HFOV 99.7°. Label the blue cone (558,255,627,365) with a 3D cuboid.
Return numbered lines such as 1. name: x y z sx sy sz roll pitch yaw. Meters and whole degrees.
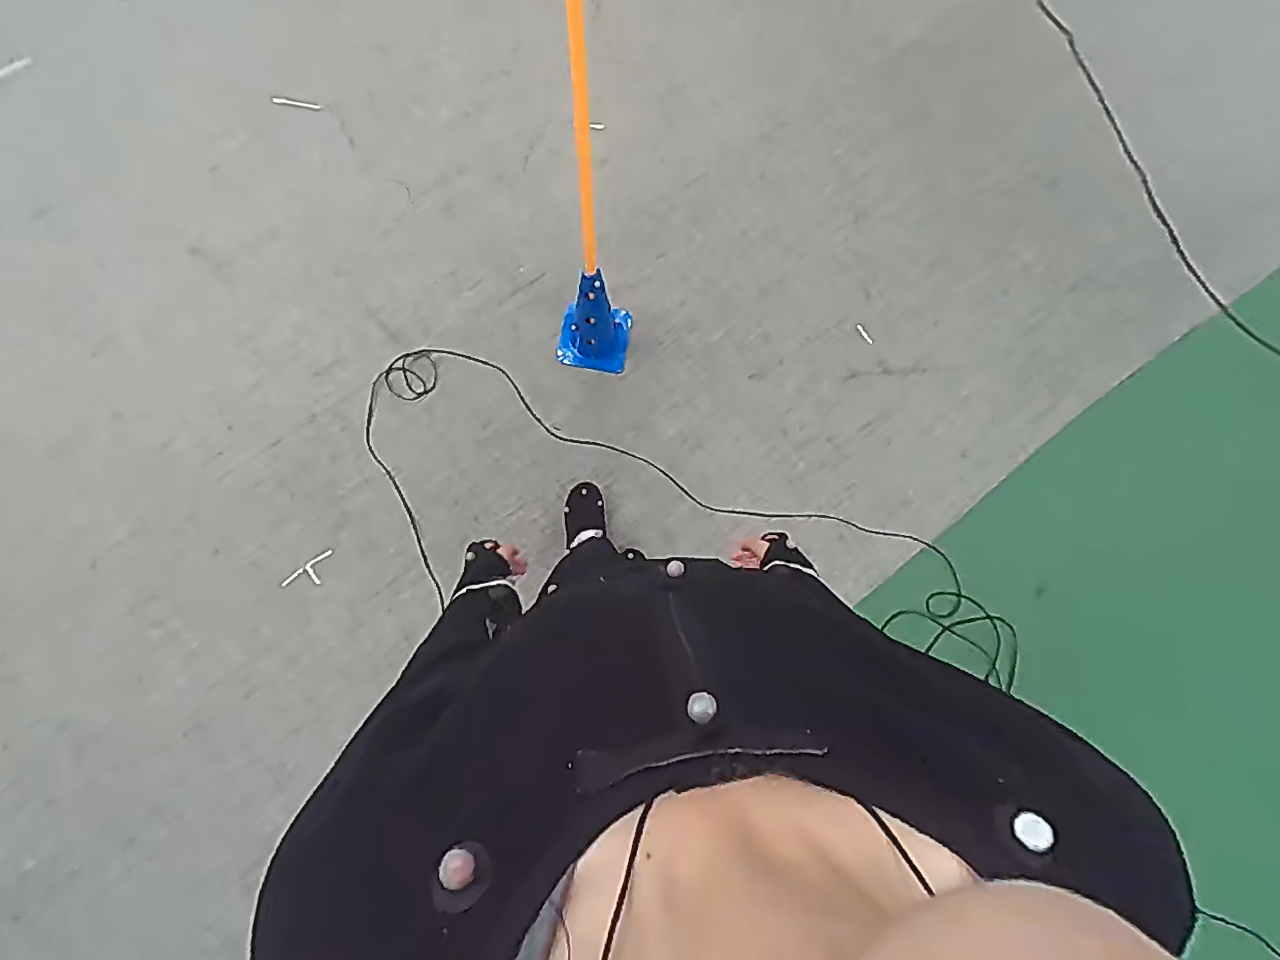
1. blue cone: -0.127 -0.463 1.415 0.192 0.380 0.193 8 78 -3
